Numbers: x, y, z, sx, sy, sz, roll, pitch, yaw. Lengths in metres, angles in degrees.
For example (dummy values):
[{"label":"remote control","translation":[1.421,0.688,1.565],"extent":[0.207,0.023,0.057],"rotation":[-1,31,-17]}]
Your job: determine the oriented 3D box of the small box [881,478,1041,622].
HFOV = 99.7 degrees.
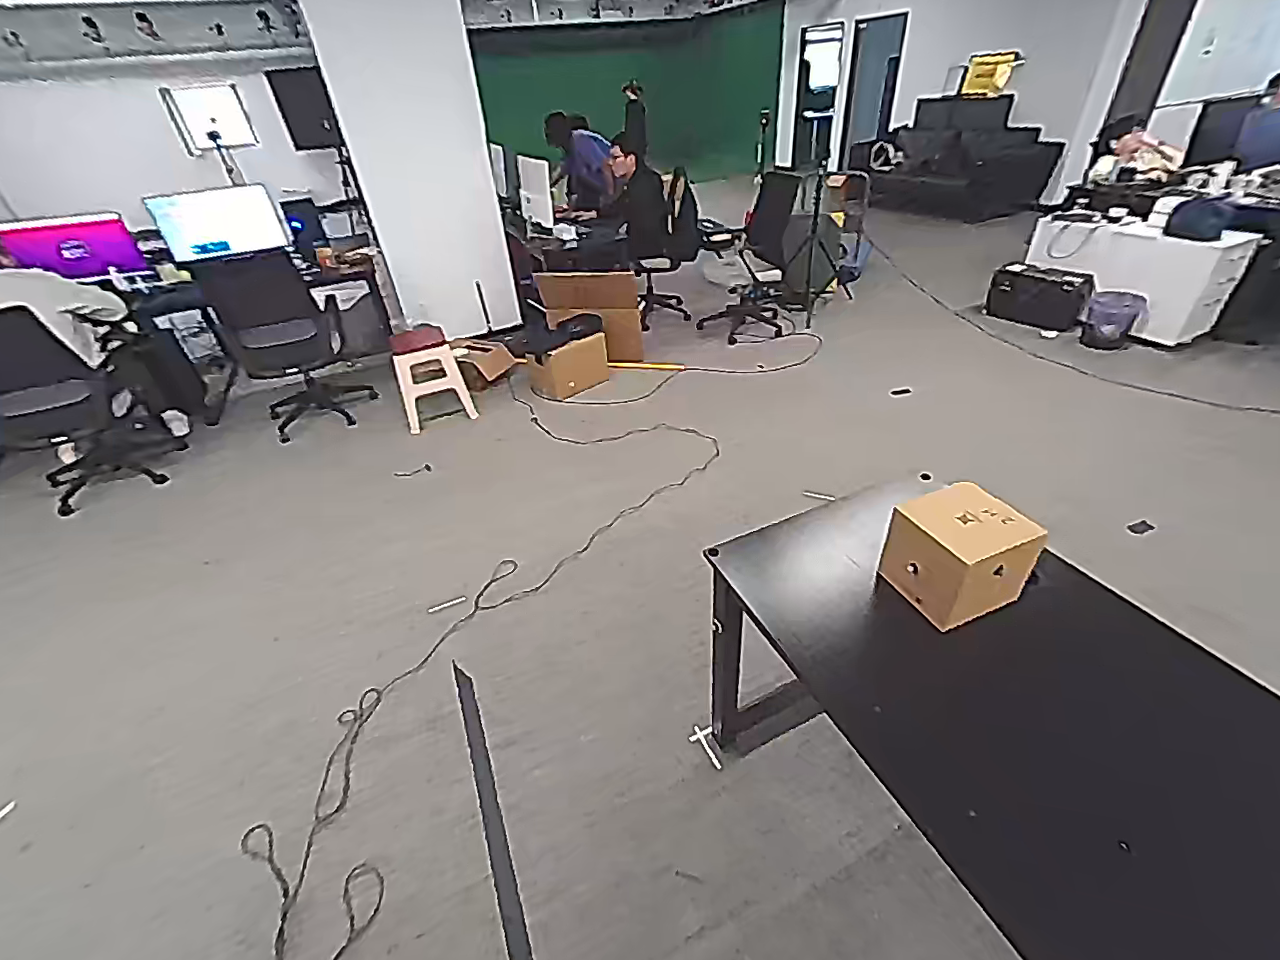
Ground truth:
[{"label":"small box","translation":[0.562,0.126,0.975],"extent":[0.179,0.176,0.168],"rotation":[-17,38,-15]}]
